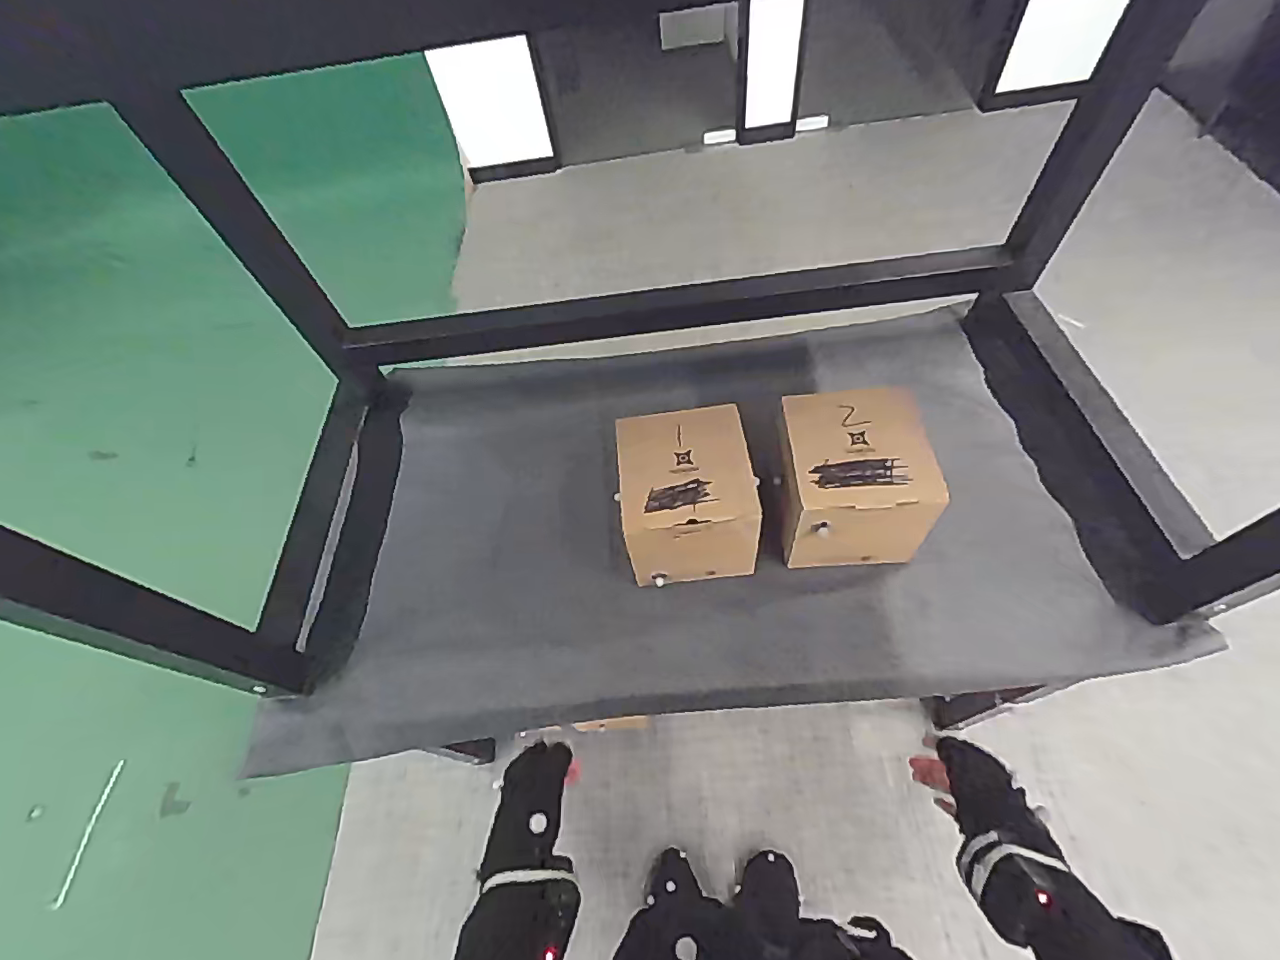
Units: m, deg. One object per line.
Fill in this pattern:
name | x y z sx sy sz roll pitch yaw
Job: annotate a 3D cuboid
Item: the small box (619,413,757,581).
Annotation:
small box | 0.066 0.032 0.759 0.168 0.176 0.179 -6 55 3
